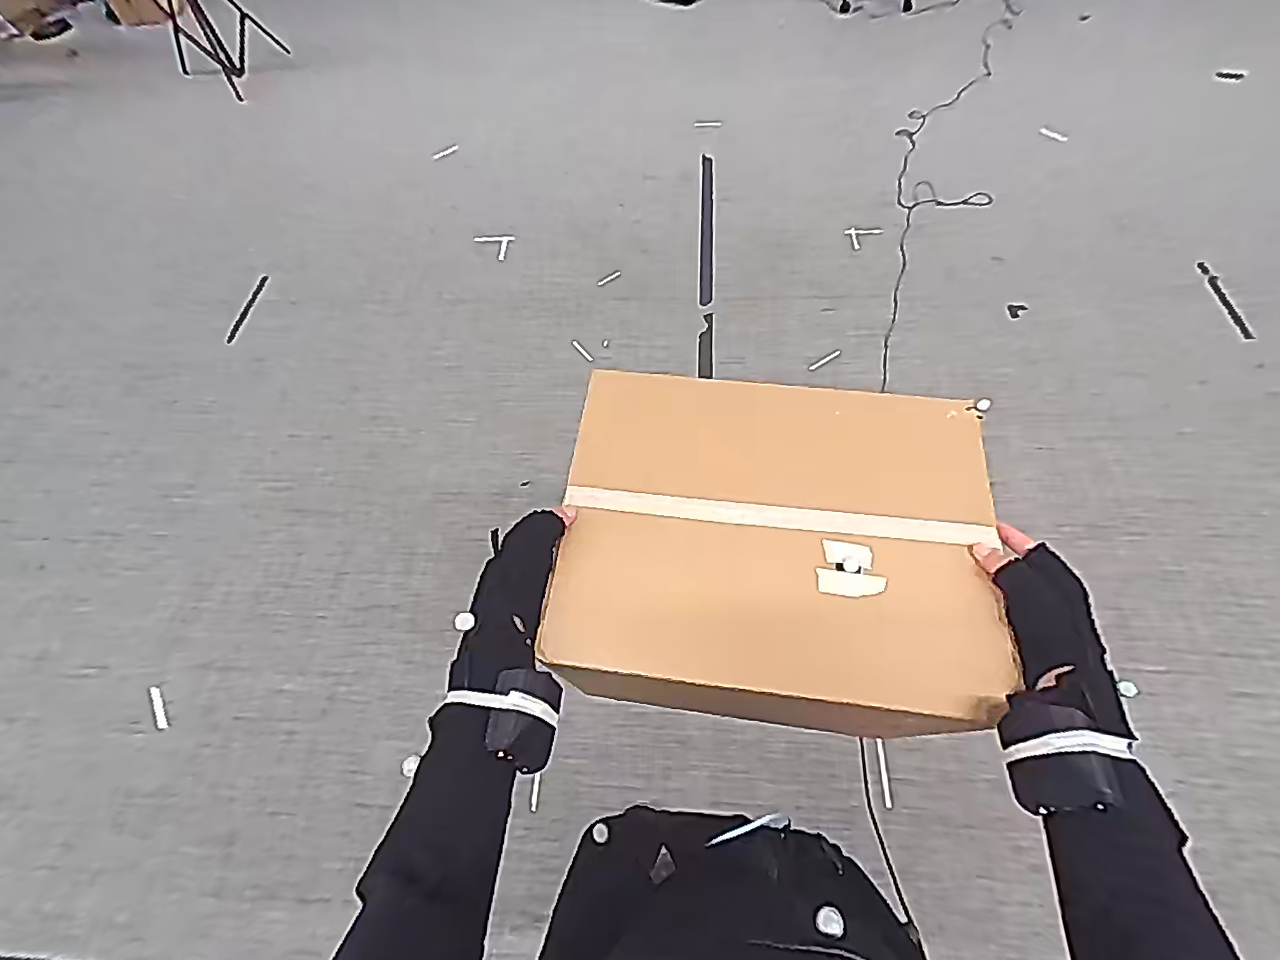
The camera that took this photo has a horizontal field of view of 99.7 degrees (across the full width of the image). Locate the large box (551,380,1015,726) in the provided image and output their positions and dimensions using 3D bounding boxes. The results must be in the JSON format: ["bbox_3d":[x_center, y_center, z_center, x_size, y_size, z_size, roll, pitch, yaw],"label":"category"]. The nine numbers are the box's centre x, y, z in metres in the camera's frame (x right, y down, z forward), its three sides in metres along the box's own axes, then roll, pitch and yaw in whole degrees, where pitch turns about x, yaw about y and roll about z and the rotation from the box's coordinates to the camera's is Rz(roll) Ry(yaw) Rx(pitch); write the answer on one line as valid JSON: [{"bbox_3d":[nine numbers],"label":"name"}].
[{"bbox_3d":[0.135,0.105,0.660,0.408,0.320,0.320,6,65,5],"label":"large box"}]
